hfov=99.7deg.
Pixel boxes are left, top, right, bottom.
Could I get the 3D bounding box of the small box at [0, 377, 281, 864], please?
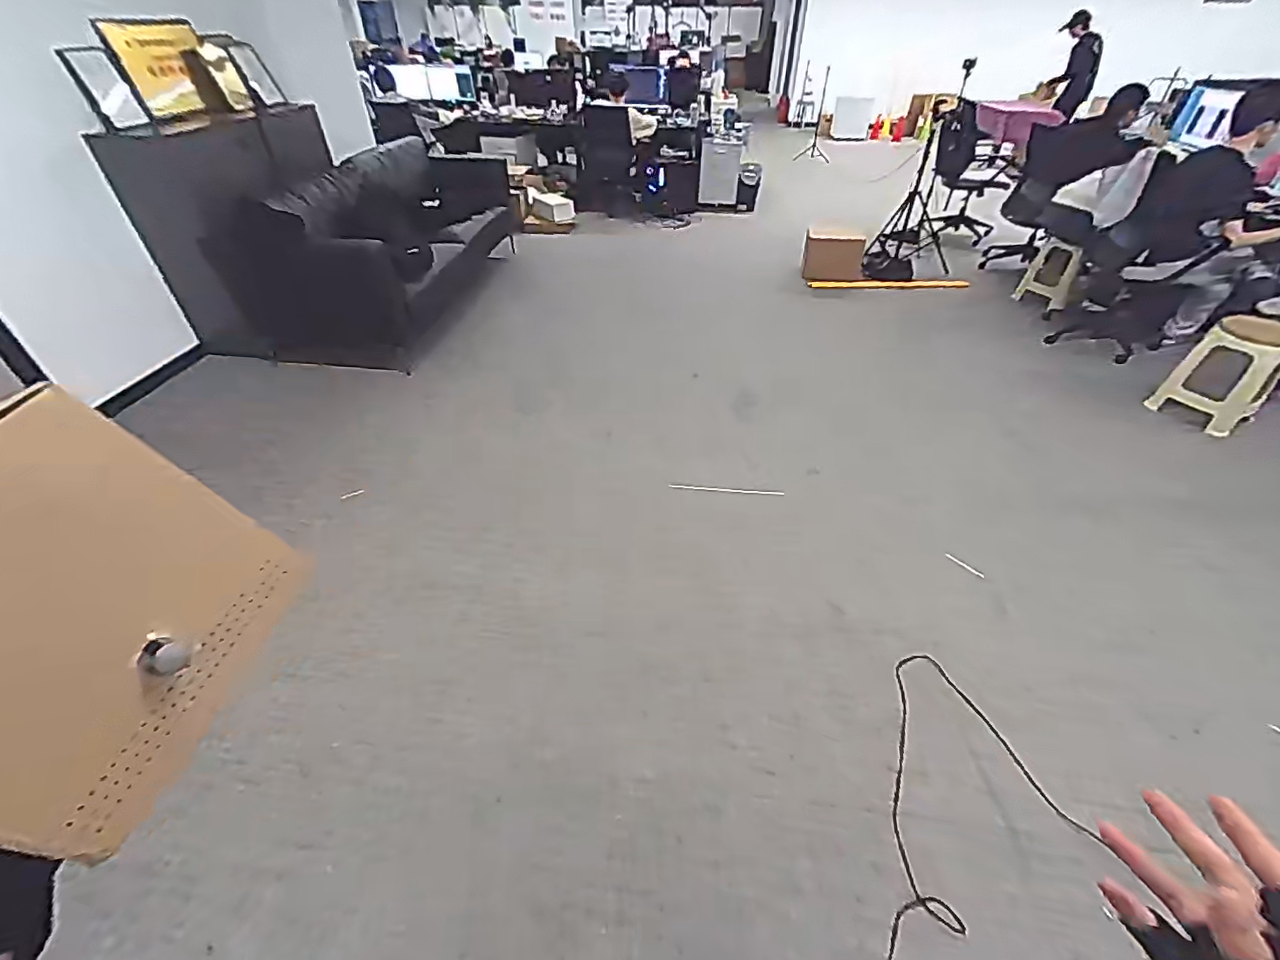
[{"bbox_3d":[-0.344,0.076,0.293,0.168,0.176,0.179,-10,44,25],"label":"small box"}]
